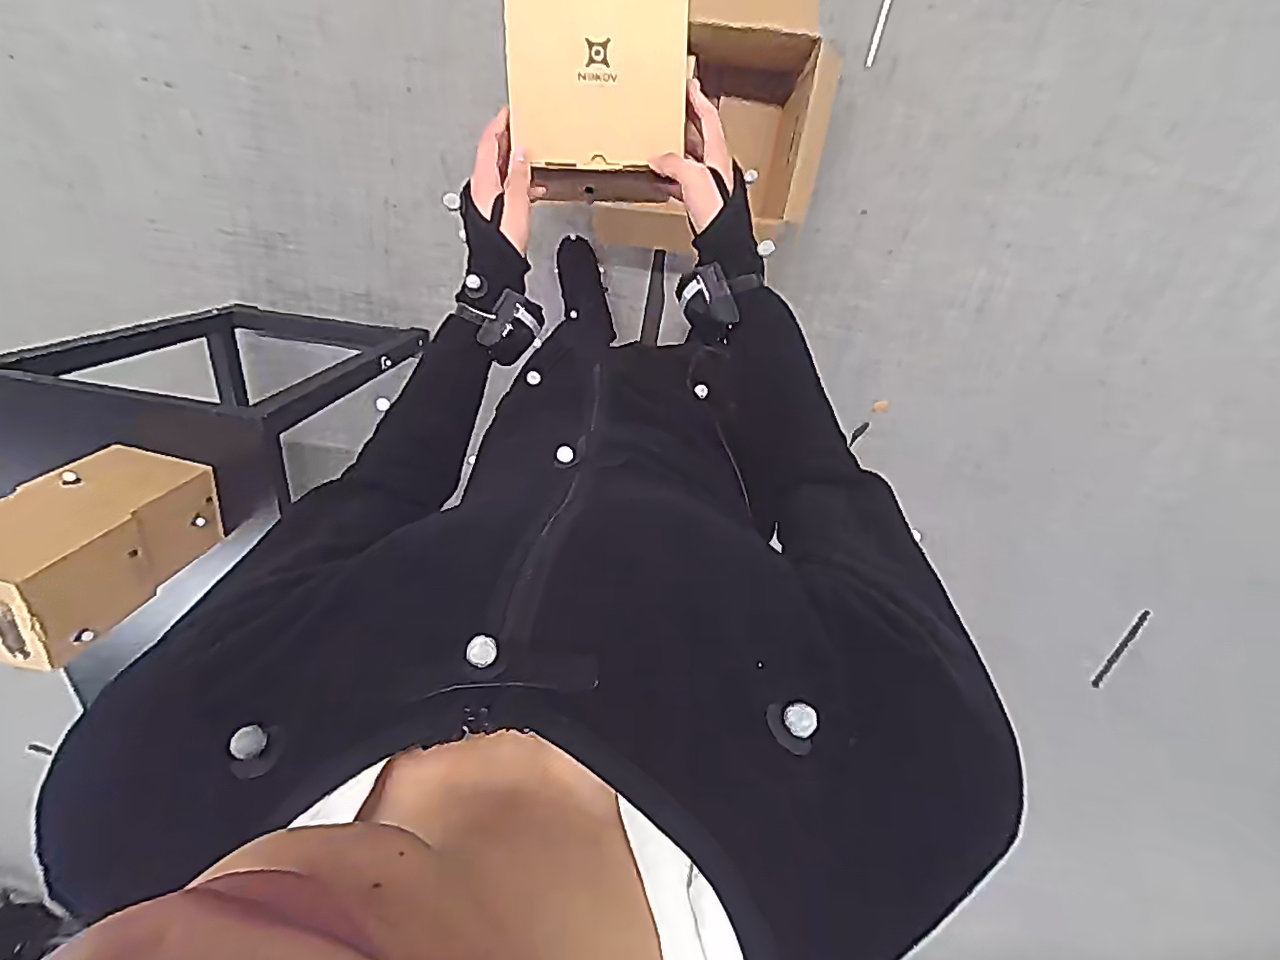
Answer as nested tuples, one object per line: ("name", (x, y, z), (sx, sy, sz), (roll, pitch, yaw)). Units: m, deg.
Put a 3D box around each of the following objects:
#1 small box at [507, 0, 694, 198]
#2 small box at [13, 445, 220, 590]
("small box", (-0.040, -0.405, 0.555), (0.168, 0.176, 0.179), (0, 108, -3))
("small box", (-0.875, 0.057, 0.926), (0.179, 0.176, 0.168), (14, 119, -2))
